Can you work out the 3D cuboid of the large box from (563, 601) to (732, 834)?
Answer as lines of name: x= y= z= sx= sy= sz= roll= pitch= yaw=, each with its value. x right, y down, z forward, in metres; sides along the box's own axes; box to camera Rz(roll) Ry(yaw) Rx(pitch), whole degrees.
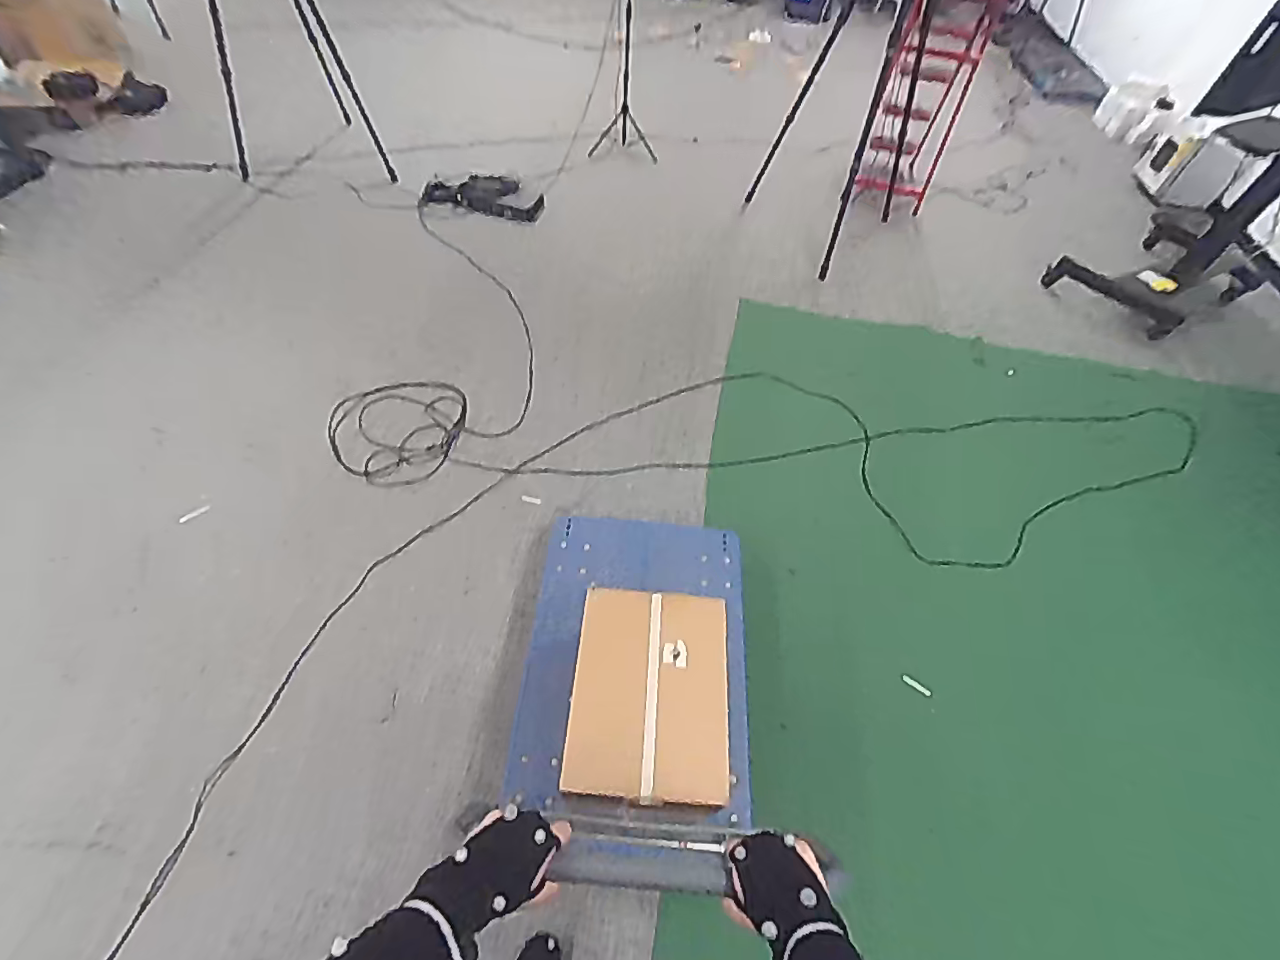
large box: x=0.014 y=0.531 z=1.206 sx=0.320 sy=0.320 sz=0.408 roll=6 pitch=51 yaw=-1
